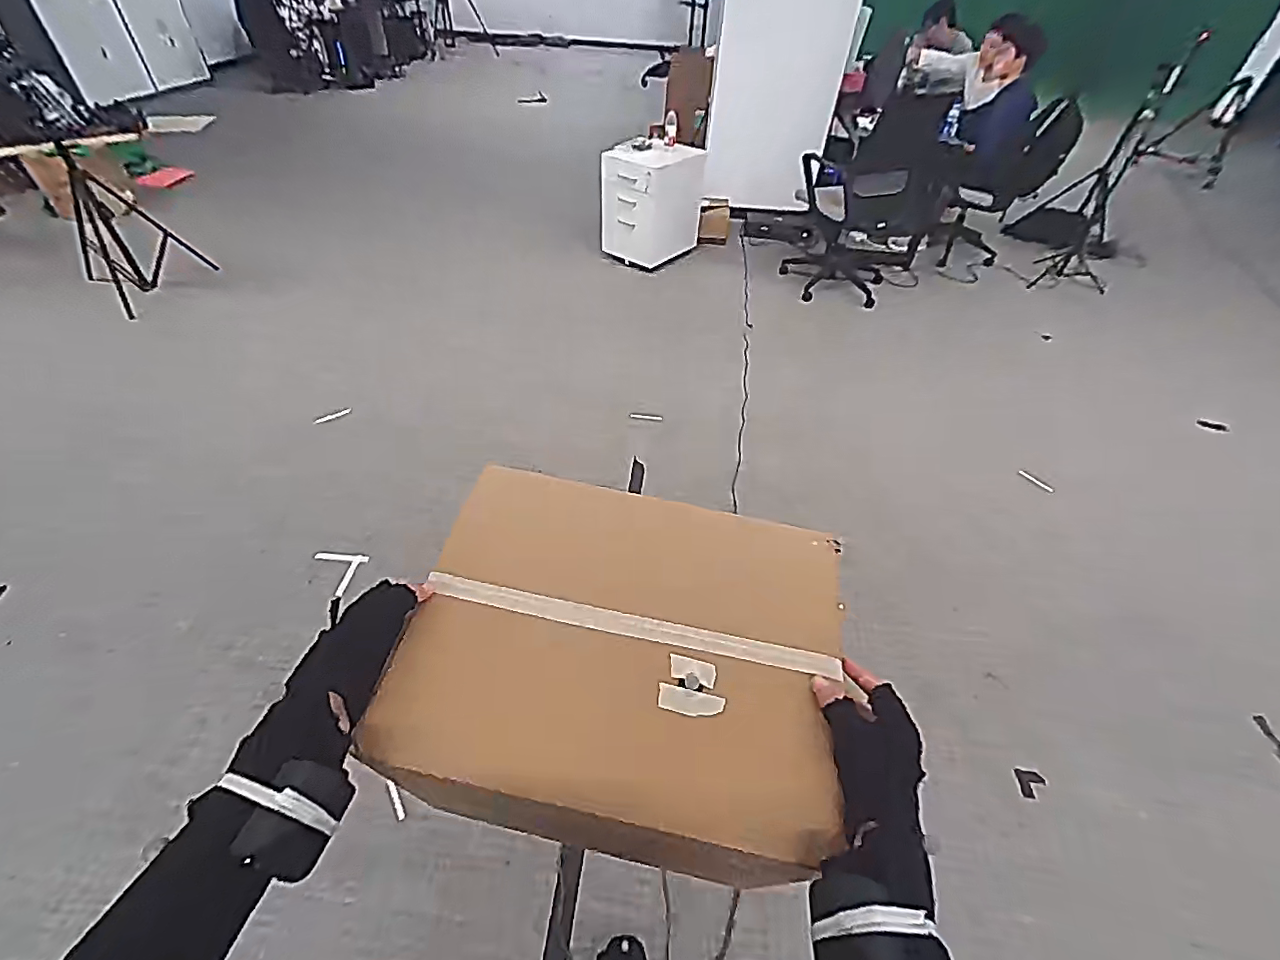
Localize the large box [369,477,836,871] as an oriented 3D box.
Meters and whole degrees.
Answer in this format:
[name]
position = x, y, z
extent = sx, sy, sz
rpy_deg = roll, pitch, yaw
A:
[large box]
position = -0.023, 0.239, 0.652
extent = 0.408, 0.320, 0.320
rpy_deg = 11, 52, 3
